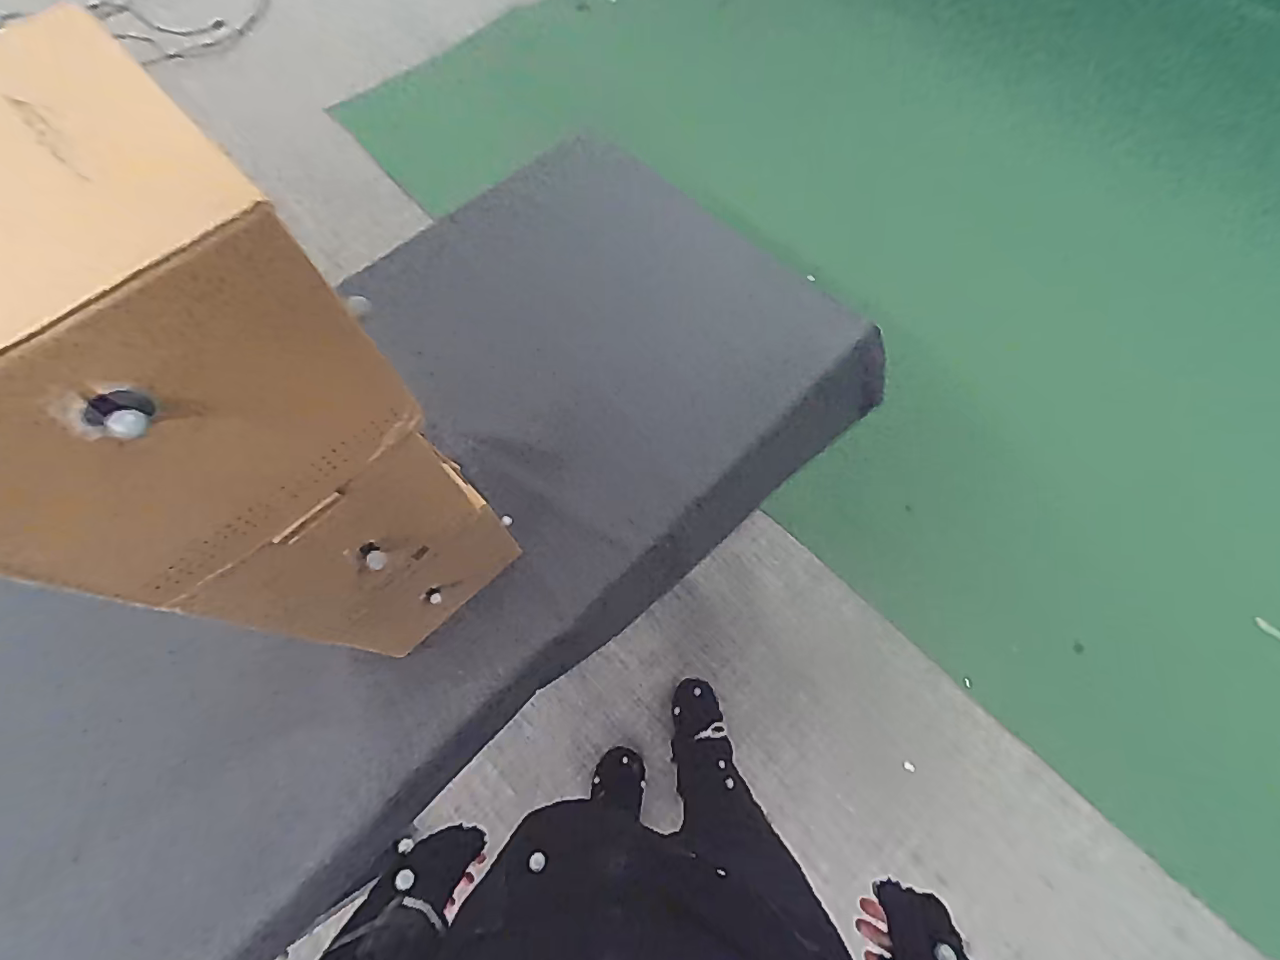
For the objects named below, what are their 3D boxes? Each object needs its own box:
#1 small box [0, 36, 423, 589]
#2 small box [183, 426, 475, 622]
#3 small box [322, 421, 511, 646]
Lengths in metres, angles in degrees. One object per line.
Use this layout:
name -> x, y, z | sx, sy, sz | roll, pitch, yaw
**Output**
small box -> -0.251, -0.068, 0.281 | 0.179, 0.176, 0.168 | -42, 75, -17
small box -> -0.261, -0.005, 0.431 | 0.179, 0.176, 0.168 | 42, 73, 15
small box -> -0.259, 0.055, 0.583 | 0.179, 0.176, 0.168 | -43, 73, -15
